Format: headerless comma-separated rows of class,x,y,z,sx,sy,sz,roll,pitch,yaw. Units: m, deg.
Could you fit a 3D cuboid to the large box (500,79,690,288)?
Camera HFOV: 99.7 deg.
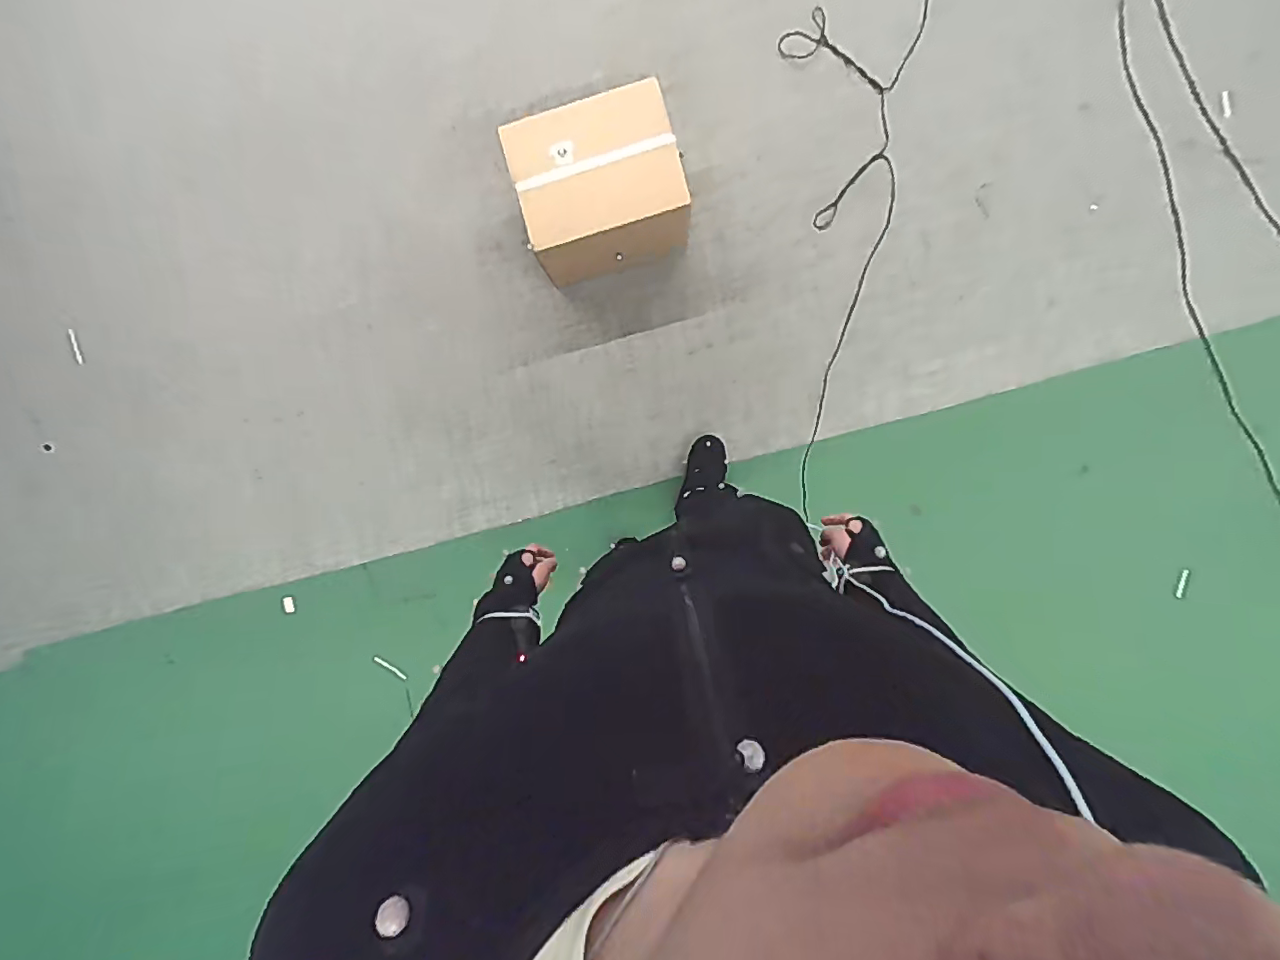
large box,-0.101,-0.767,1.460,0.408,0.320,0.320,-17,91,4
